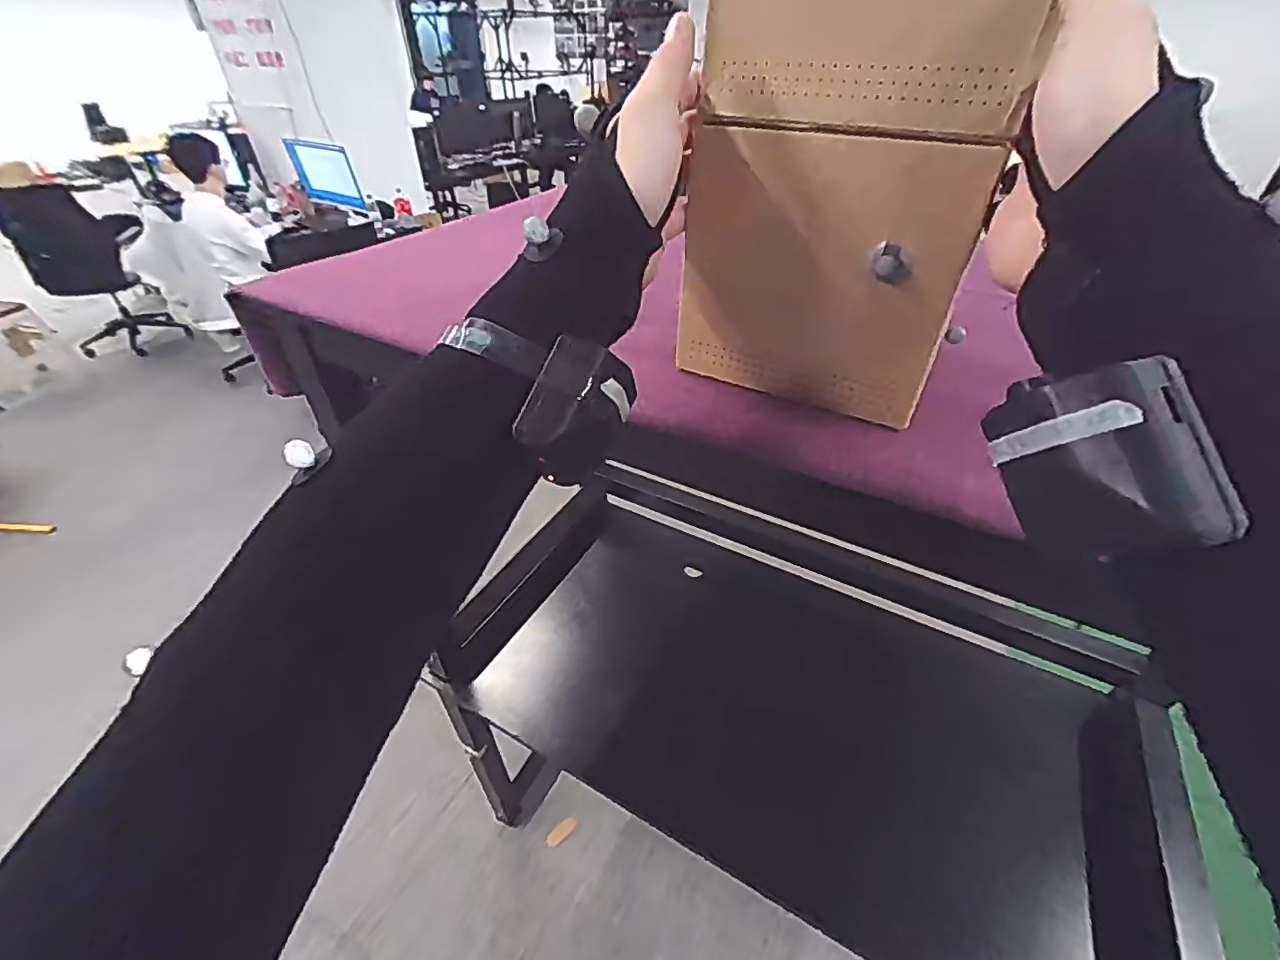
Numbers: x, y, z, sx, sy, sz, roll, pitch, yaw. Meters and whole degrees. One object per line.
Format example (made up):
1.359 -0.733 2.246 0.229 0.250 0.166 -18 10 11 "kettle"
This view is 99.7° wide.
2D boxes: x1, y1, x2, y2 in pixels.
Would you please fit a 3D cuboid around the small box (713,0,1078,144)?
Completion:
0.153 -0.294 0.304 0.179 0.176 0.168 20 42 23 "small box"
